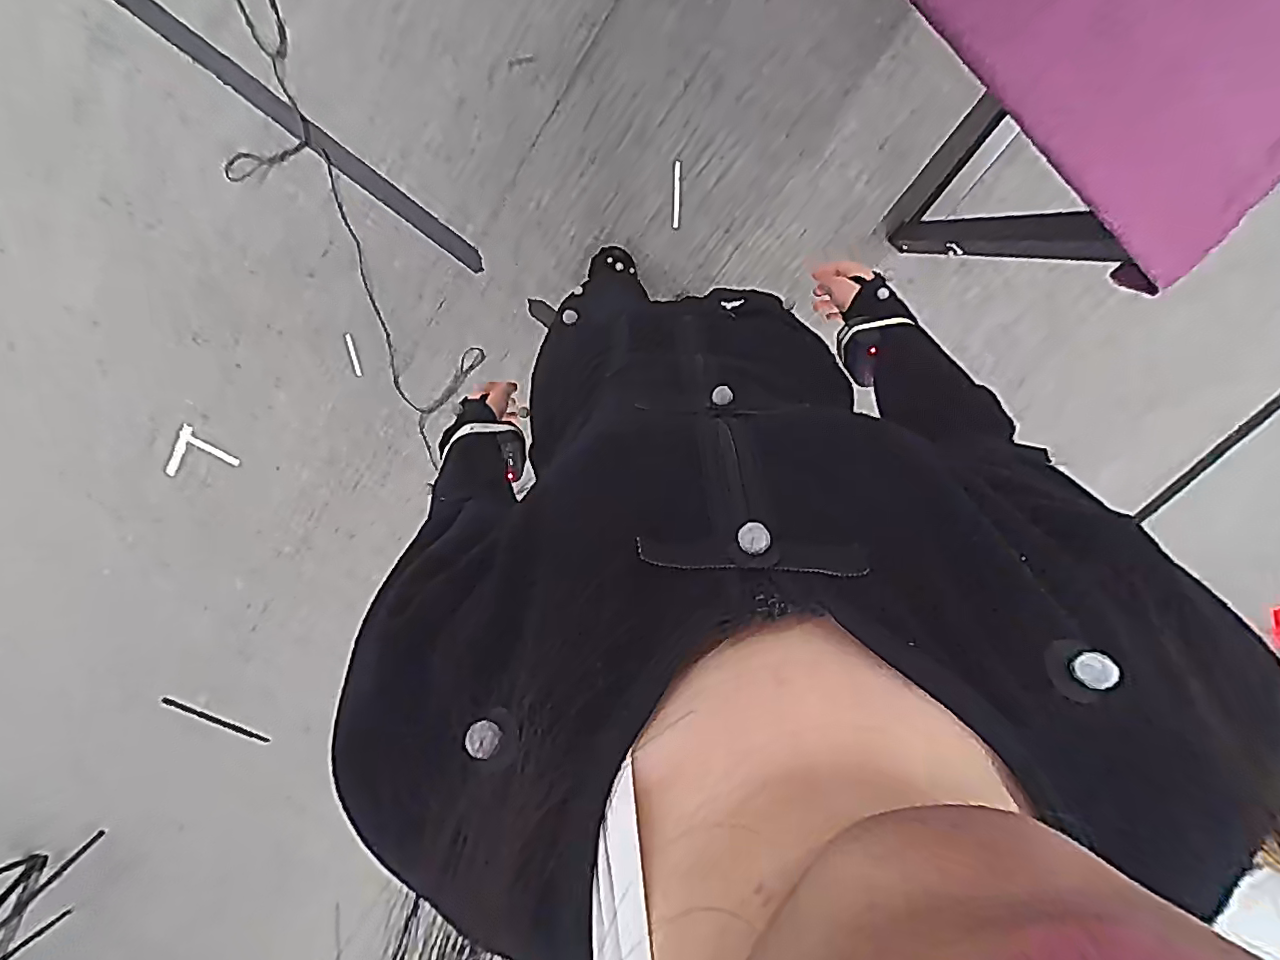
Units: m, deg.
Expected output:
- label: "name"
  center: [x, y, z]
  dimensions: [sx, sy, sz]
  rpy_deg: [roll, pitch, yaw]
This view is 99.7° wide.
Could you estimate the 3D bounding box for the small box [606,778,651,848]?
- label: "small box"
  center: [-0.046, 1.259, 2.054]
  dimensions: [0.168, 0.176, 0.179]
  rpy_deg: [-1, 115, -1]
